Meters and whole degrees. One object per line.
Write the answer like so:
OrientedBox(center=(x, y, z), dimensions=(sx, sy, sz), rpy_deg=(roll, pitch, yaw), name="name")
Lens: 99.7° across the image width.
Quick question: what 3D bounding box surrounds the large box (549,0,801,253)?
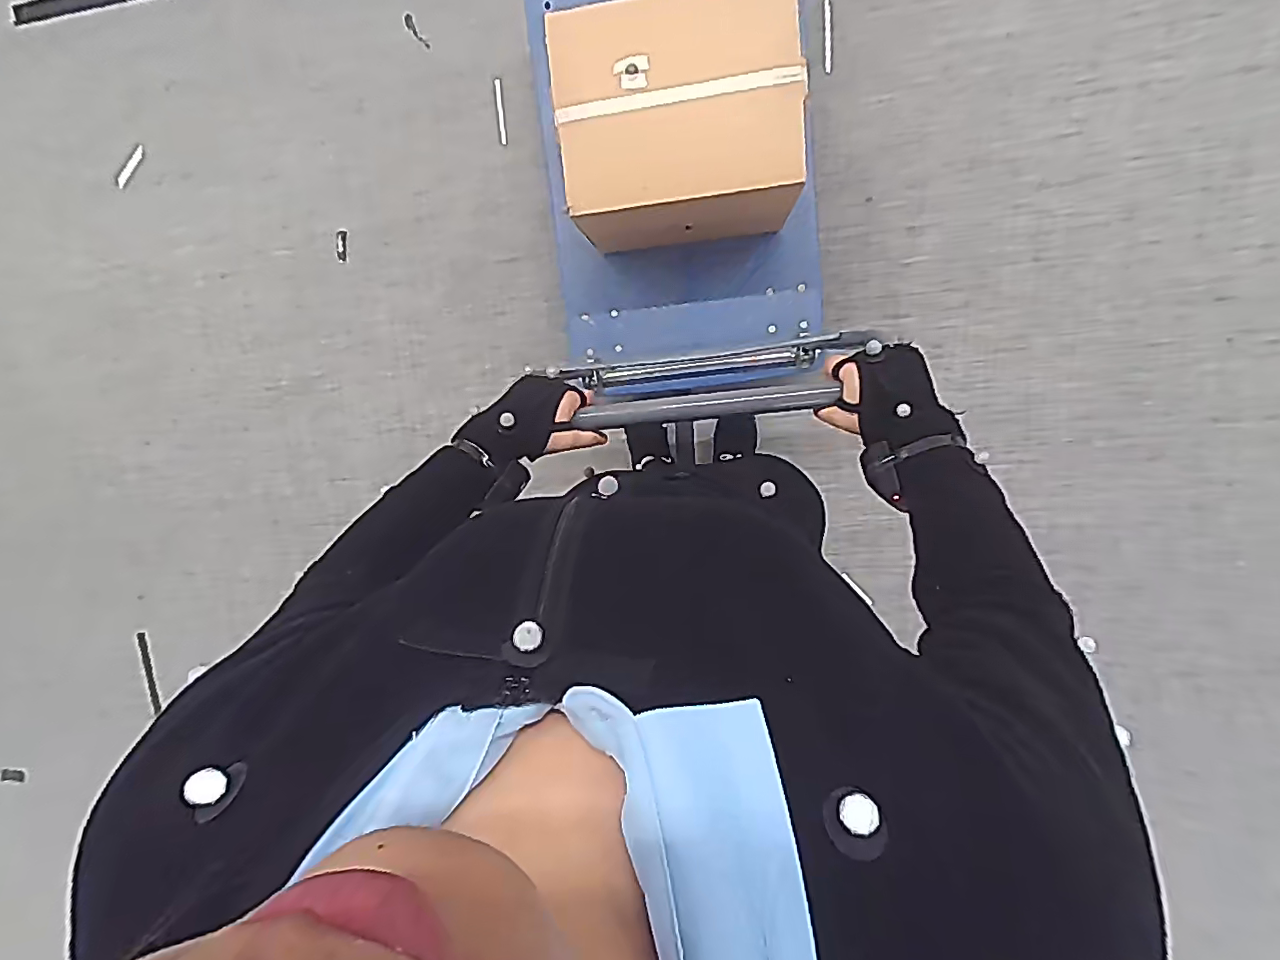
OrientedBox(center=(0.078, -0.658, 1.051), dimensions=(0.408, 0.320, 0.320), rpy_deg=(-5, 99, 9), name="large box")
